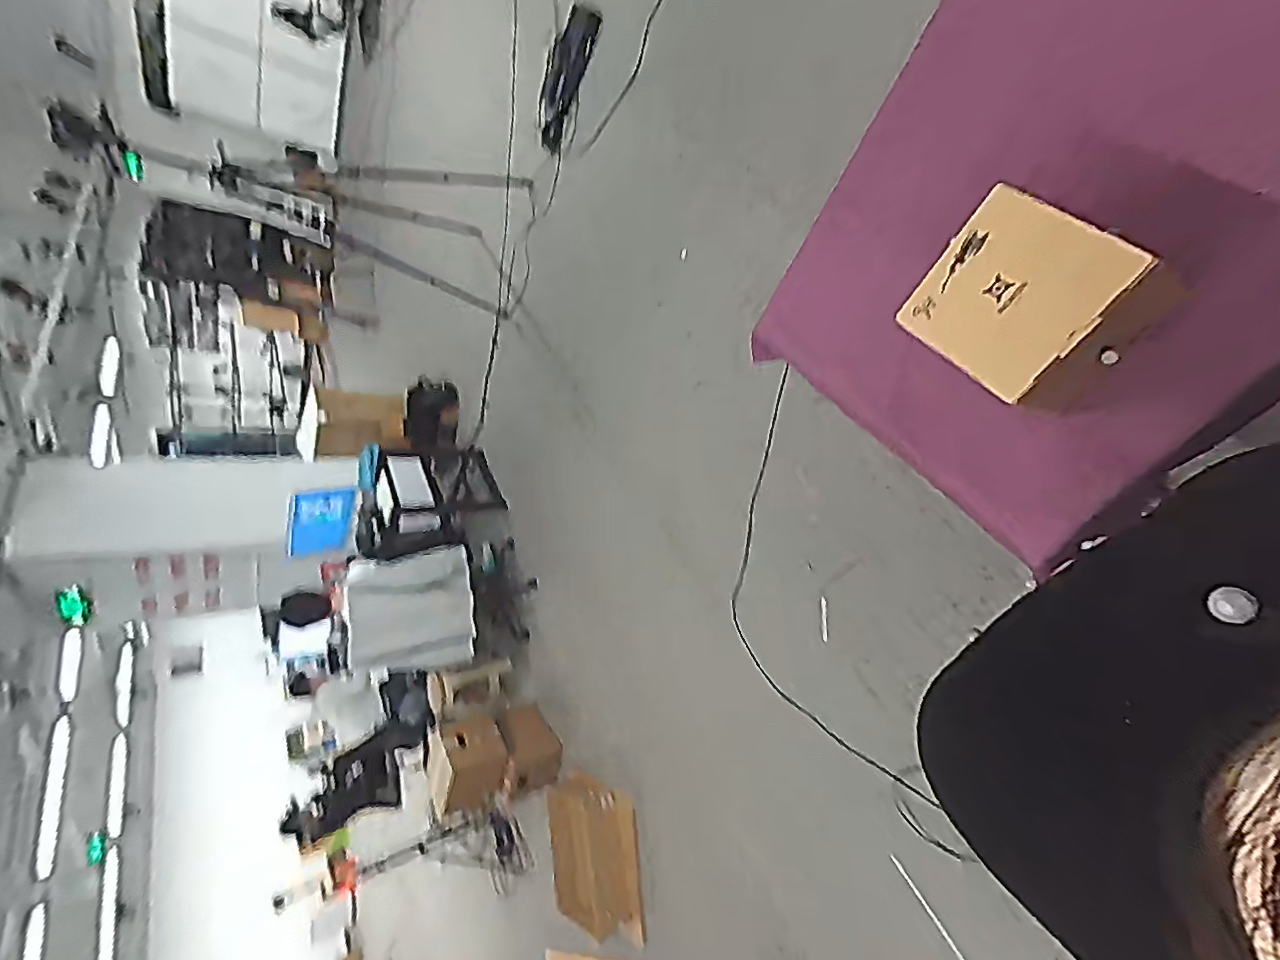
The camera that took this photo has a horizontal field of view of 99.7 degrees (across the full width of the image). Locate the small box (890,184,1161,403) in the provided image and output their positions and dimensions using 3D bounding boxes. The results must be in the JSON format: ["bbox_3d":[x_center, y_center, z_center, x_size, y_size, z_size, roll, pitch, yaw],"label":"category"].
[{"bbox_3d":[0.444,-0.205,0.629,0.179,0.176,0.168,56,131,32],"label":"small box"}]
